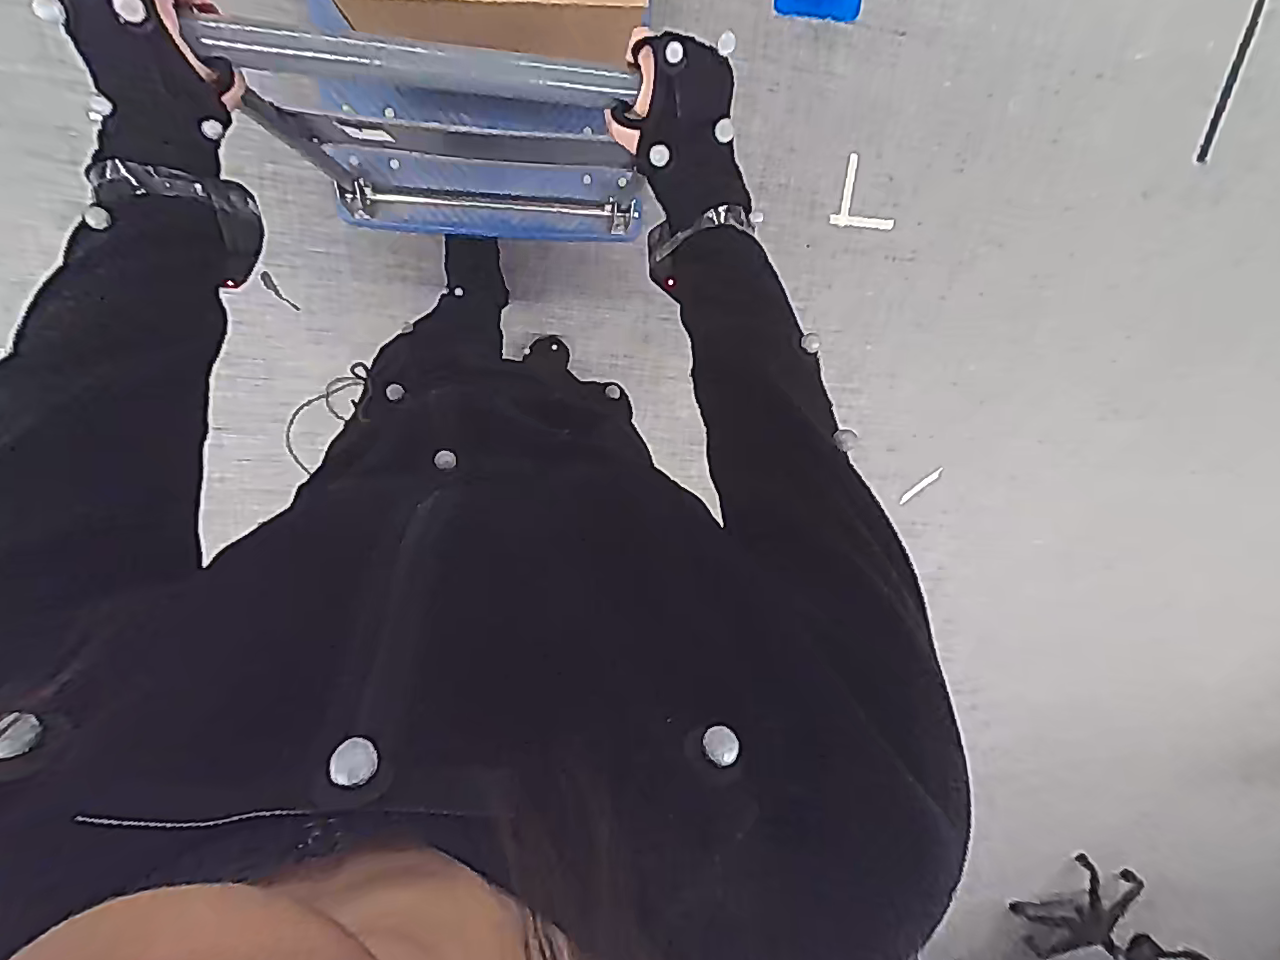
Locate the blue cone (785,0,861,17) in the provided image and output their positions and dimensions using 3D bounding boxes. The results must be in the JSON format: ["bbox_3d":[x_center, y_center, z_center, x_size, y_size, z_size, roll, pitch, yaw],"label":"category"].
[{"bbox_3d":[0.424,-1.048,0.992,0.193,0.380,0.192,-1,110,-11],"label":"blue cone"}]
